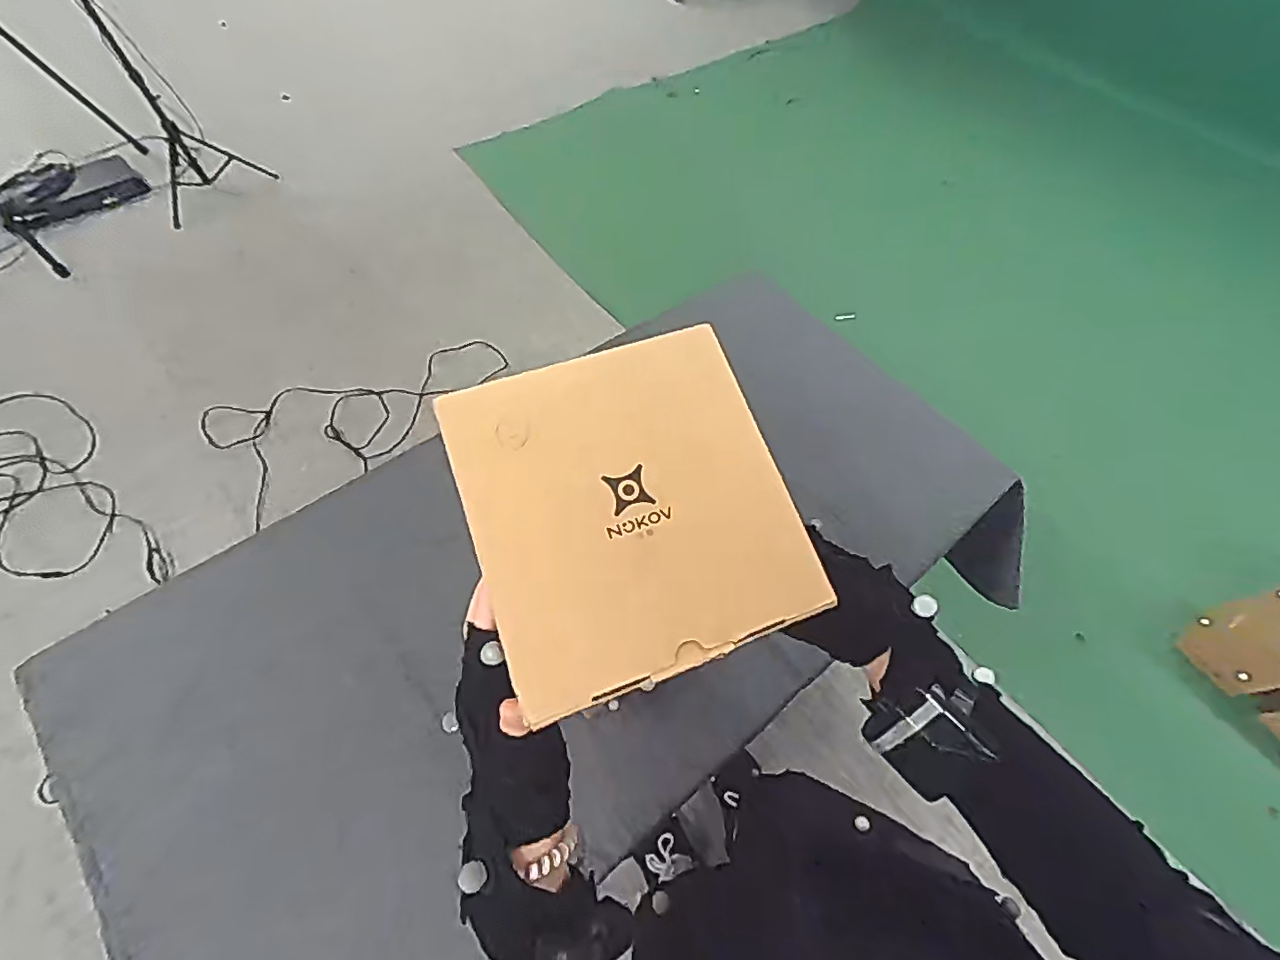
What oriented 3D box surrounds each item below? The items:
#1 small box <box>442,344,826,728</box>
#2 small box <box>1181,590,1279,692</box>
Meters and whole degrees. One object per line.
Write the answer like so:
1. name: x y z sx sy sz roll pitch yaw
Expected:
1. small box: -0.015 0.043 0.366 0.168 0.176 0.179 -19 75 -12
2. small box: 1.550 0.414 1.372 0.179 0.176 0.168 -29 65 -17
